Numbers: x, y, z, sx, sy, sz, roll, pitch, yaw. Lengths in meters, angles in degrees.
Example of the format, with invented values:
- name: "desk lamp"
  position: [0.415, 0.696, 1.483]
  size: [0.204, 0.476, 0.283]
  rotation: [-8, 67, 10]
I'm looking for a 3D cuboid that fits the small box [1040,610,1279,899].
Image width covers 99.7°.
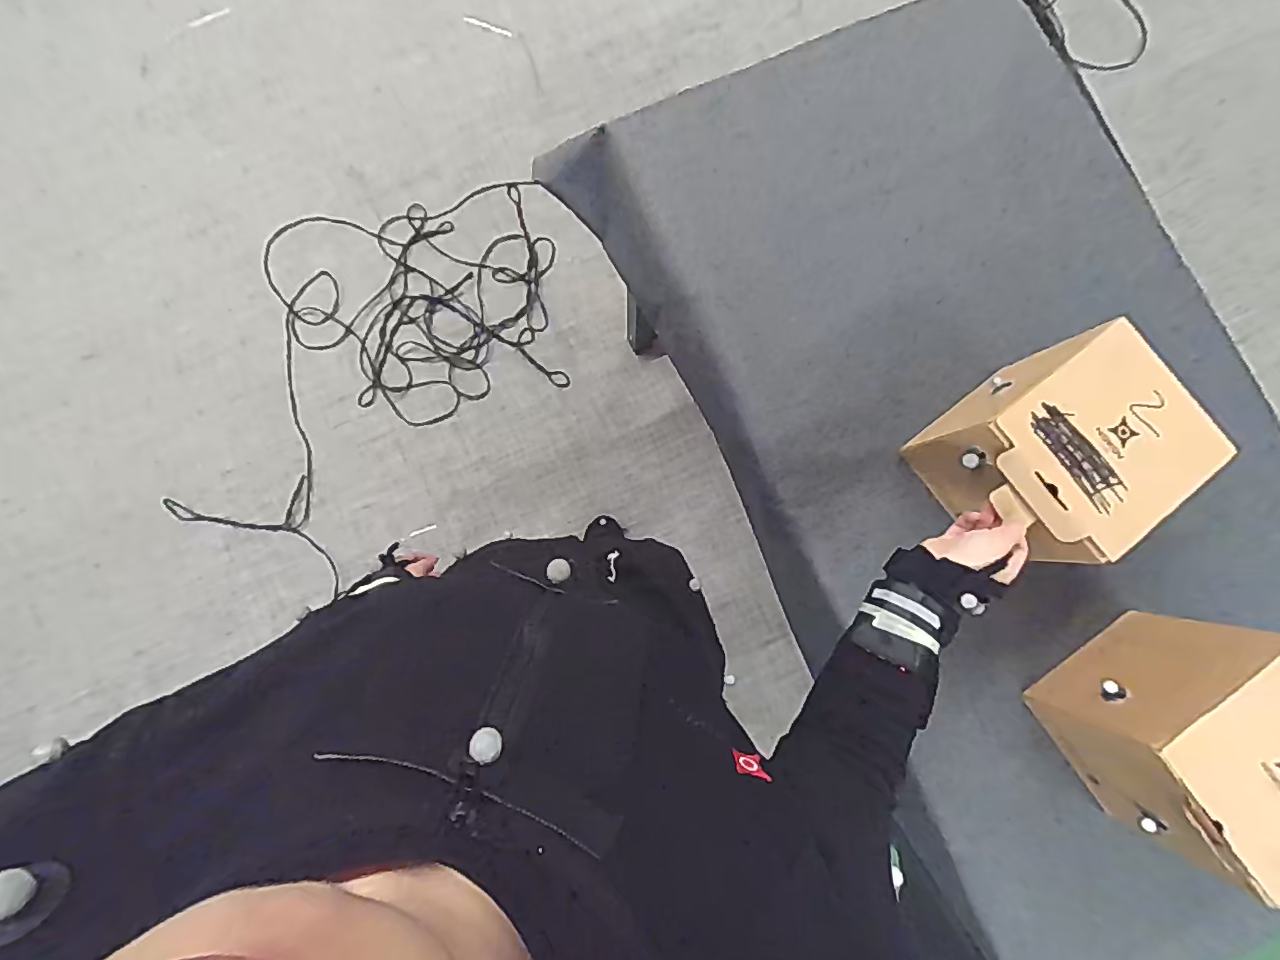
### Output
- name: "small box"
  position: [0.565, 0.258, 0.558]
  size: [0.179, 0.176, 0.168]
  rotation: [-35, 88, -6]
